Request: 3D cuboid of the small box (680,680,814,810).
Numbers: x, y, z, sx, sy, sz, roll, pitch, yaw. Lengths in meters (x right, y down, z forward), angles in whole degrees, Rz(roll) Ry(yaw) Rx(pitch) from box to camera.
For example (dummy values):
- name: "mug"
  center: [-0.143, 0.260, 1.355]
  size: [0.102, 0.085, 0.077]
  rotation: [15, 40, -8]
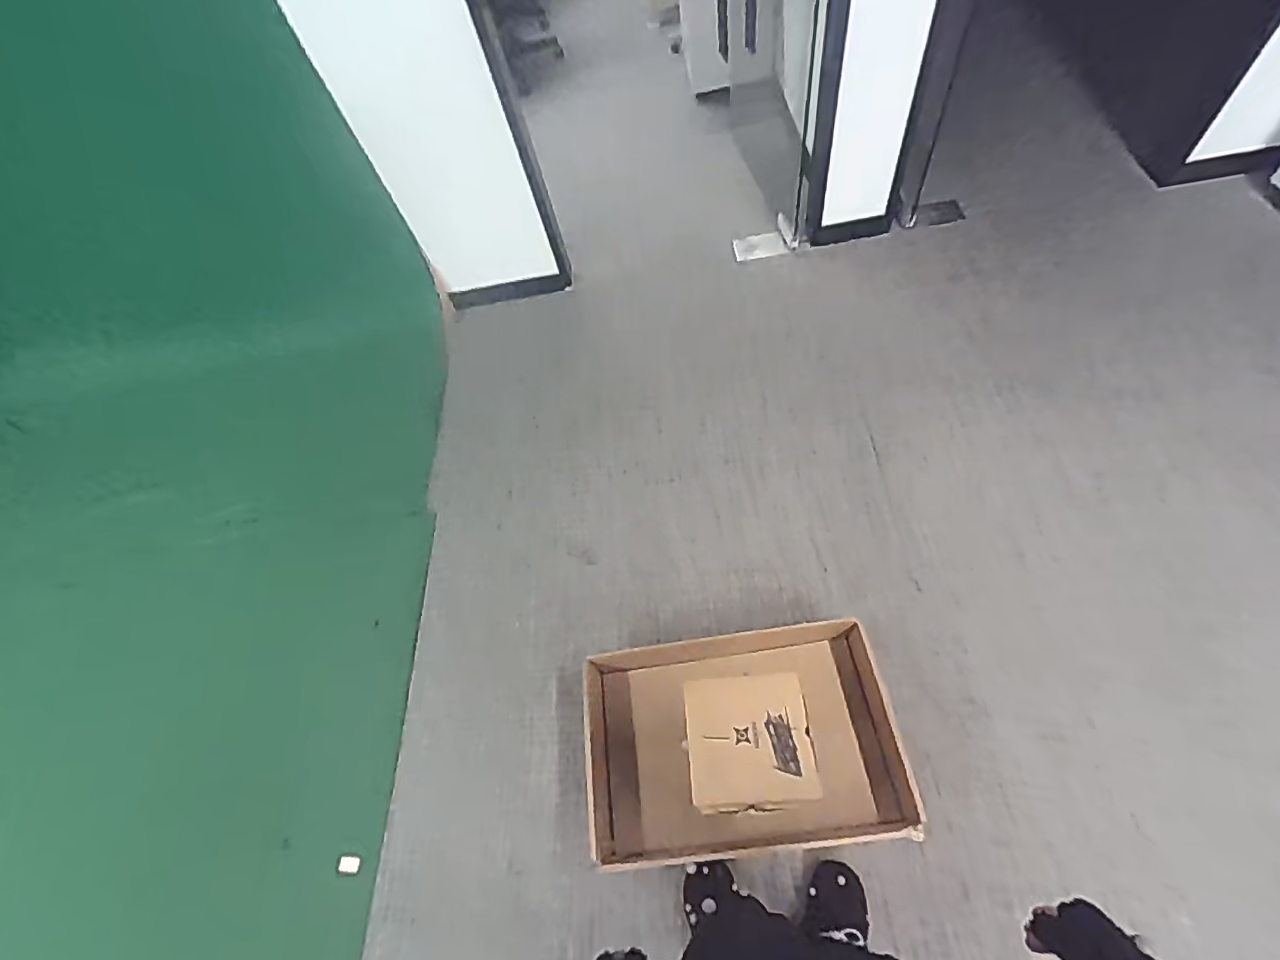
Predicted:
- name: "small box"
  center: [0.159, 0.418, 0.847]
  size: [0.179, 0.176, 0.168]
  rotation: [-6, 57, 6]

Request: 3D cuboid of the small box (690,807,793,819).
- name: "small box"
  center: [0.172, 0.500, 0.970]
  size: [0.168, 0.176, 0.179]
  rotation: [-6, 58, 6]
